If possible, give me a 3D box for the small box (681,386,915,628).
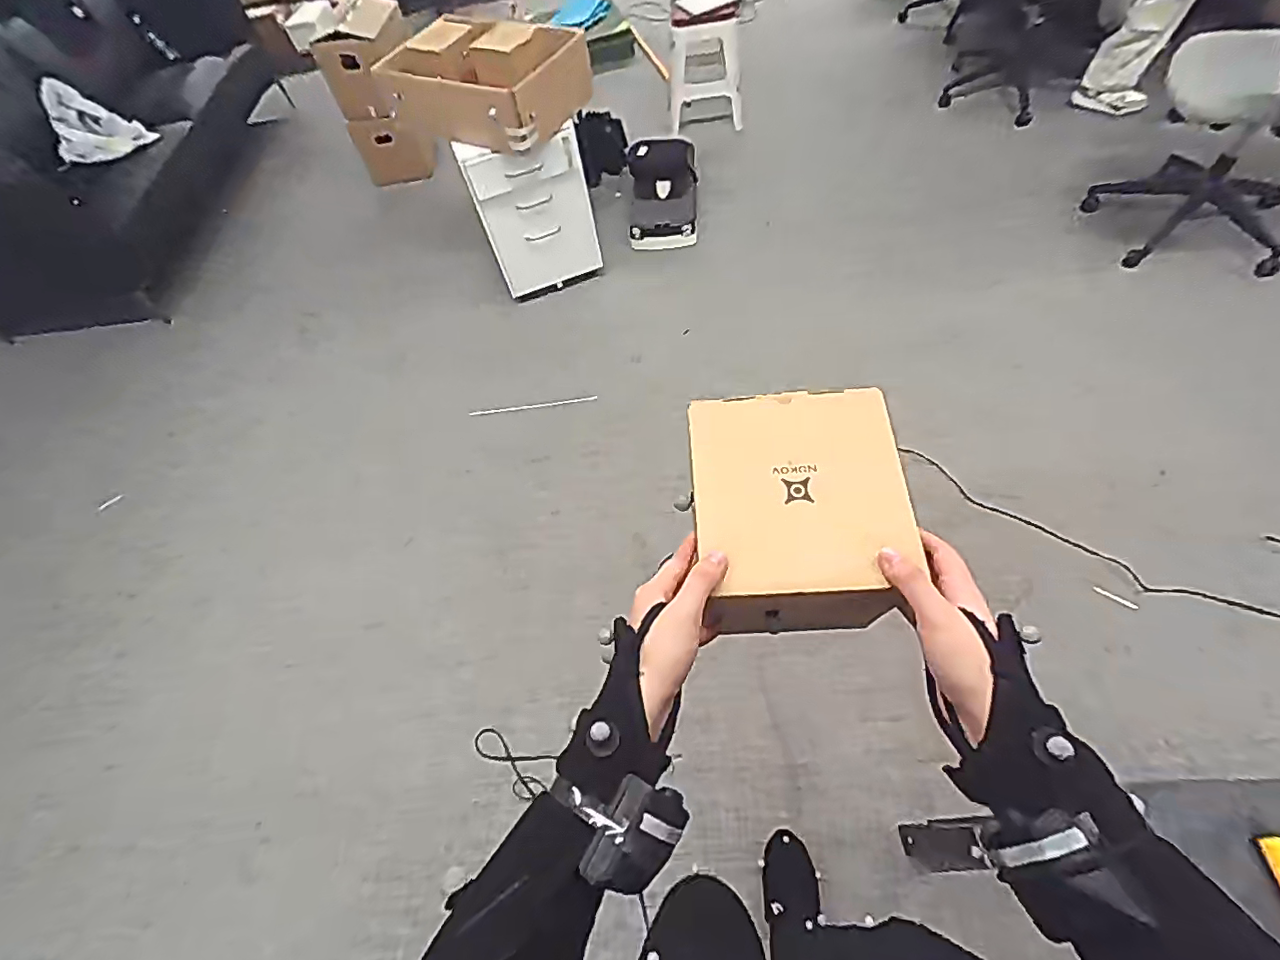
[{"bbox_3d":[0.130,0.037,0.510,0.168,0.176,0.179,-5,62,5],"label":"small box"}]
